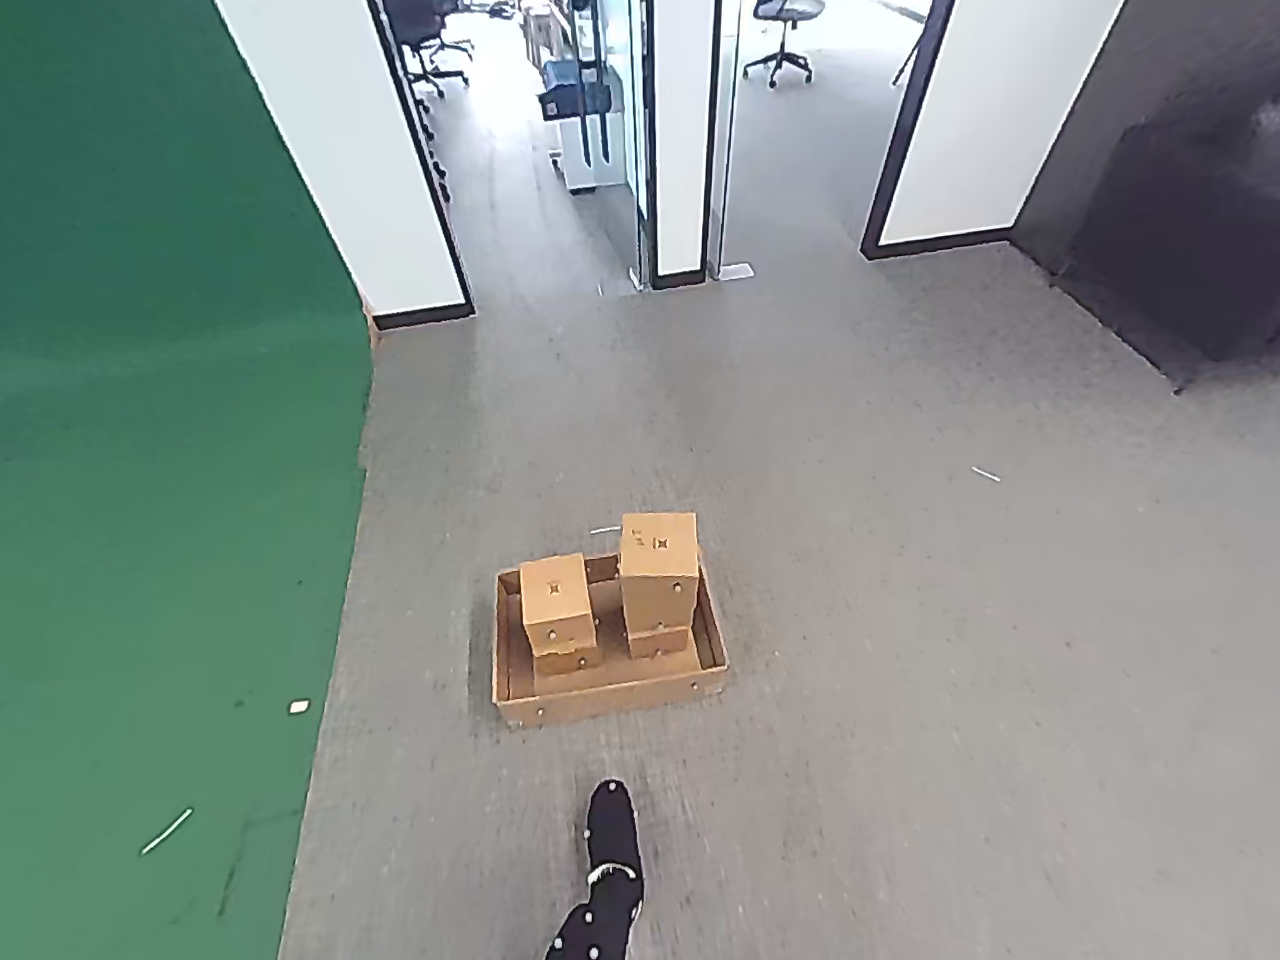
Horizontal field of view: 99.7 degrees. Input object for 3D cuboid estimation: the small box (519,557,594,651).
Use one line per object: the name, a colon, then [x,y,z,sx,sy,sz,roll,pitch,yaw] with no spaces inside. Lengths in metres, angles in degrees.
small box: [-0.215,0.329,1.407,0.168,0.176,0.179,-9,51,-7]

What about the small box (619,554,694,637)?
small box: [0.040,0.298,1.417,0.179,0.176,0.168,-6,51,-2]

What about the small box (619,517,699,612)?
small box: [0.046,0.203,1.280,0.179,0.176,0.168,0,52,3]
